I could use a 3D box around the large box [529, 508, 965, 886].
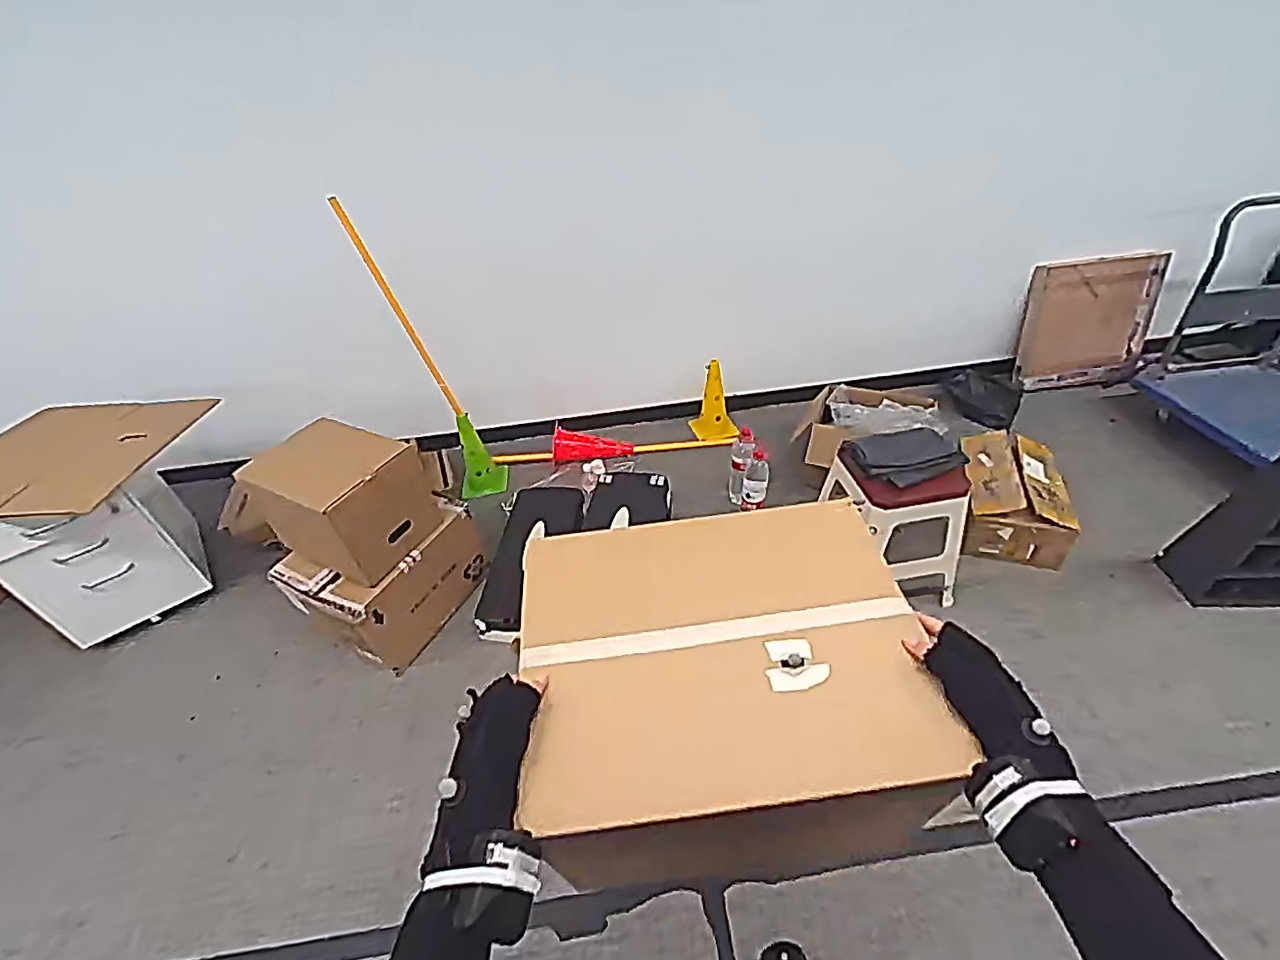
[{"bbox_3d":[0.089,0.273,0.684,0.408,0.320,0.320,-7,47,-2],"label":"large box"}]
